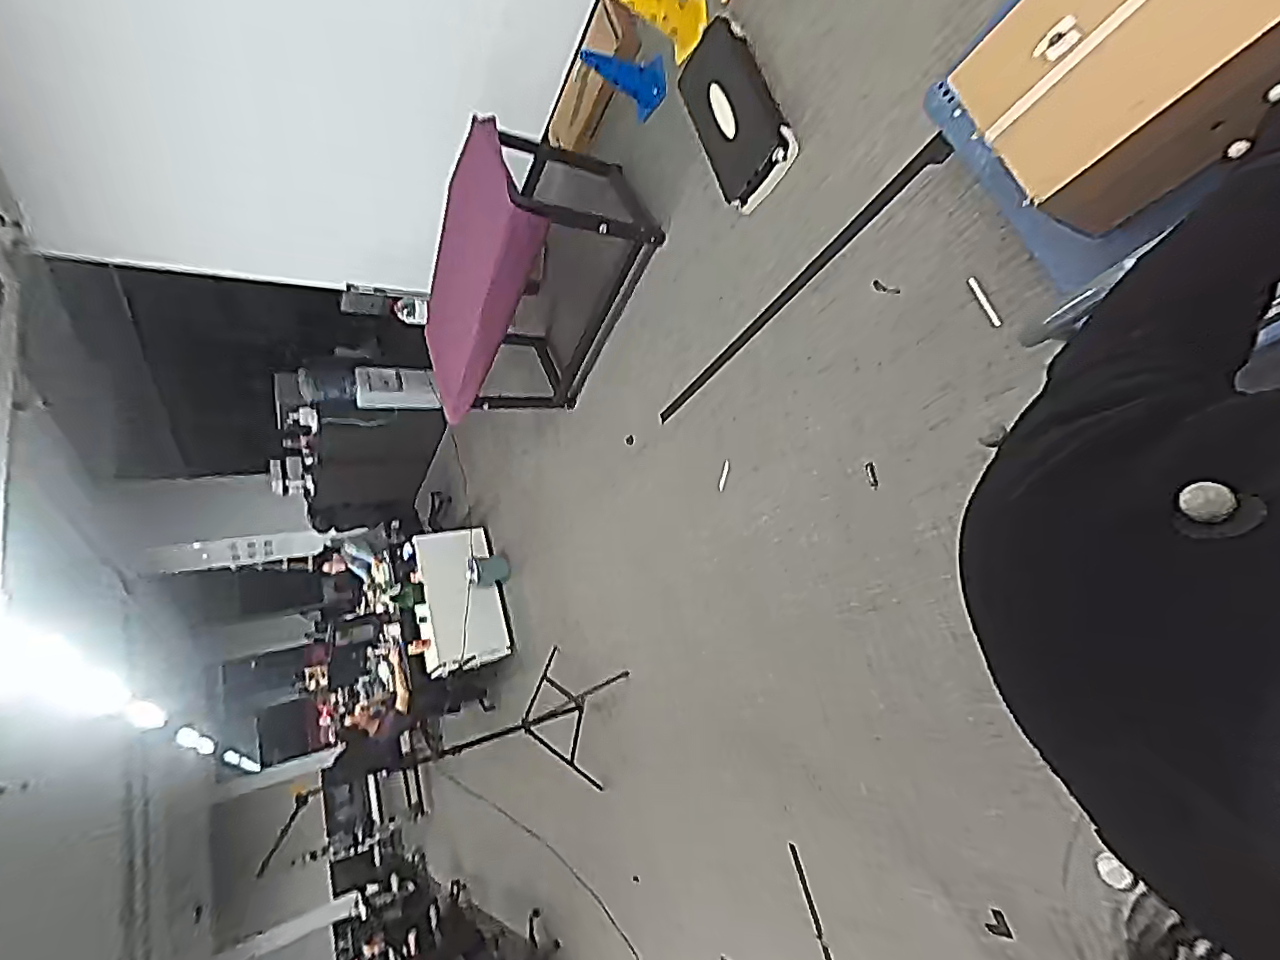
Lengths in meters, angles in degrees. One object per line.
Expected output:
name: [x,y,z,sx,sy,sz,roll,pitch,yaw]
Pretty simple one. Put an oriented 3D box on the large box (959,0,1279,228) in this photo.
large box: [0.838,-0.692,0.862,0.408,0.320,0.320,-42,60,50]
